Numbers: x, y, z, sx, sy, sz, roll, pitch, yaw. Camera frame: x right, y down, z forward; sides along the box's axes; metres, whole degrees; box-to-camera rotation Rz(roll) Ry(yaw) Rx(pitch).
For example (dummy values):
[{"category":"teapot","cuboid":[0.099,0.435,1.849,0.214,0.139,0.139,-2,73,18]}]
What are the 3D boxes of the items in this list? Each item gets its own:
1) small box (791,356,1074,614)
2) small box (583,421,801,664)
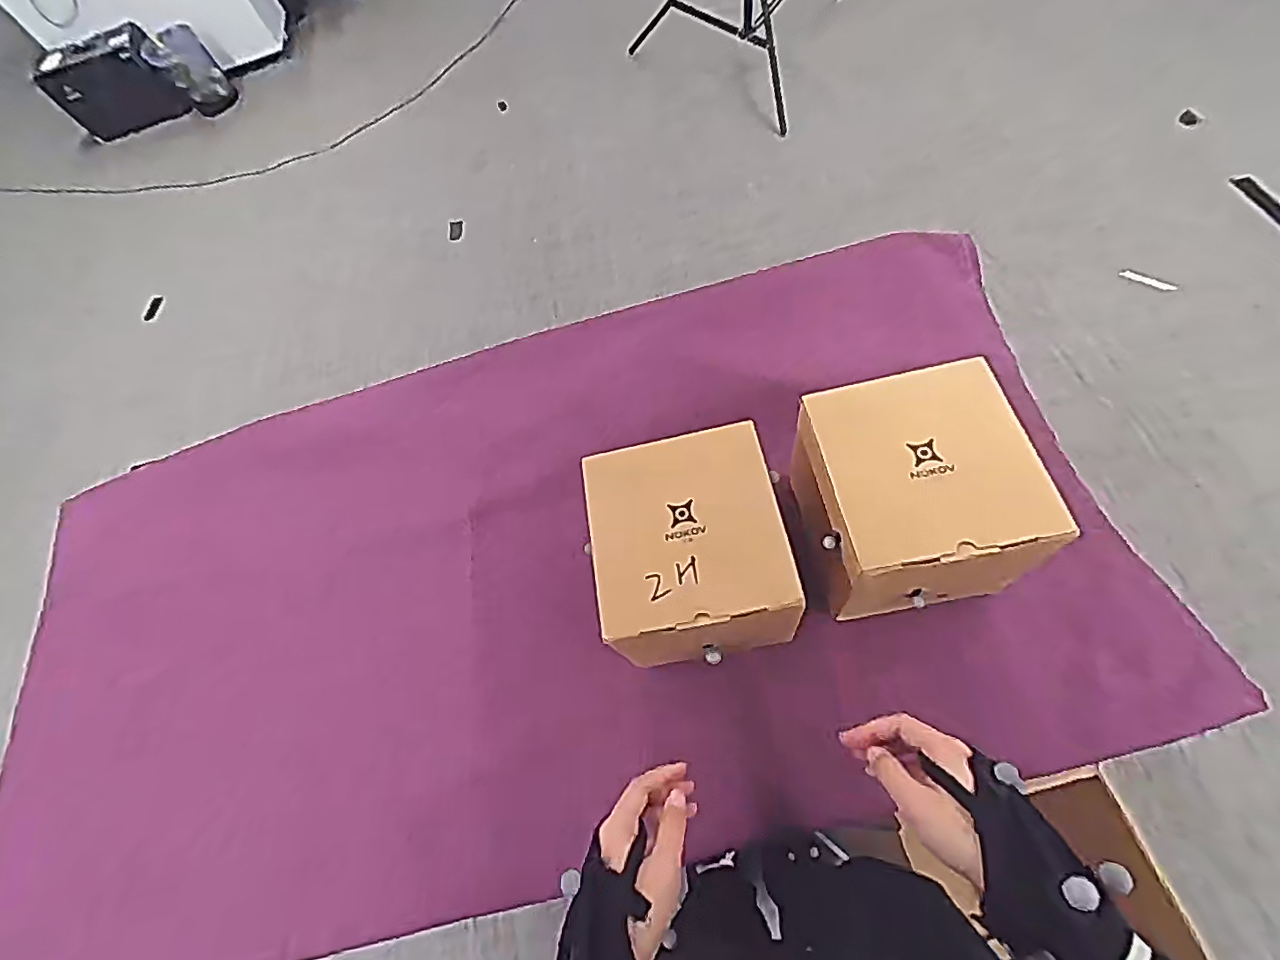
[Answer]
[{"category":"small box","cuboid":[0.252,0.014,0.525,0.168,0.176,0.179,-13,63,6]},{"category":"small box","cuboid":[0.049,0.071,0.539,0.168,0.176,0.179,-13,63,5]}]
